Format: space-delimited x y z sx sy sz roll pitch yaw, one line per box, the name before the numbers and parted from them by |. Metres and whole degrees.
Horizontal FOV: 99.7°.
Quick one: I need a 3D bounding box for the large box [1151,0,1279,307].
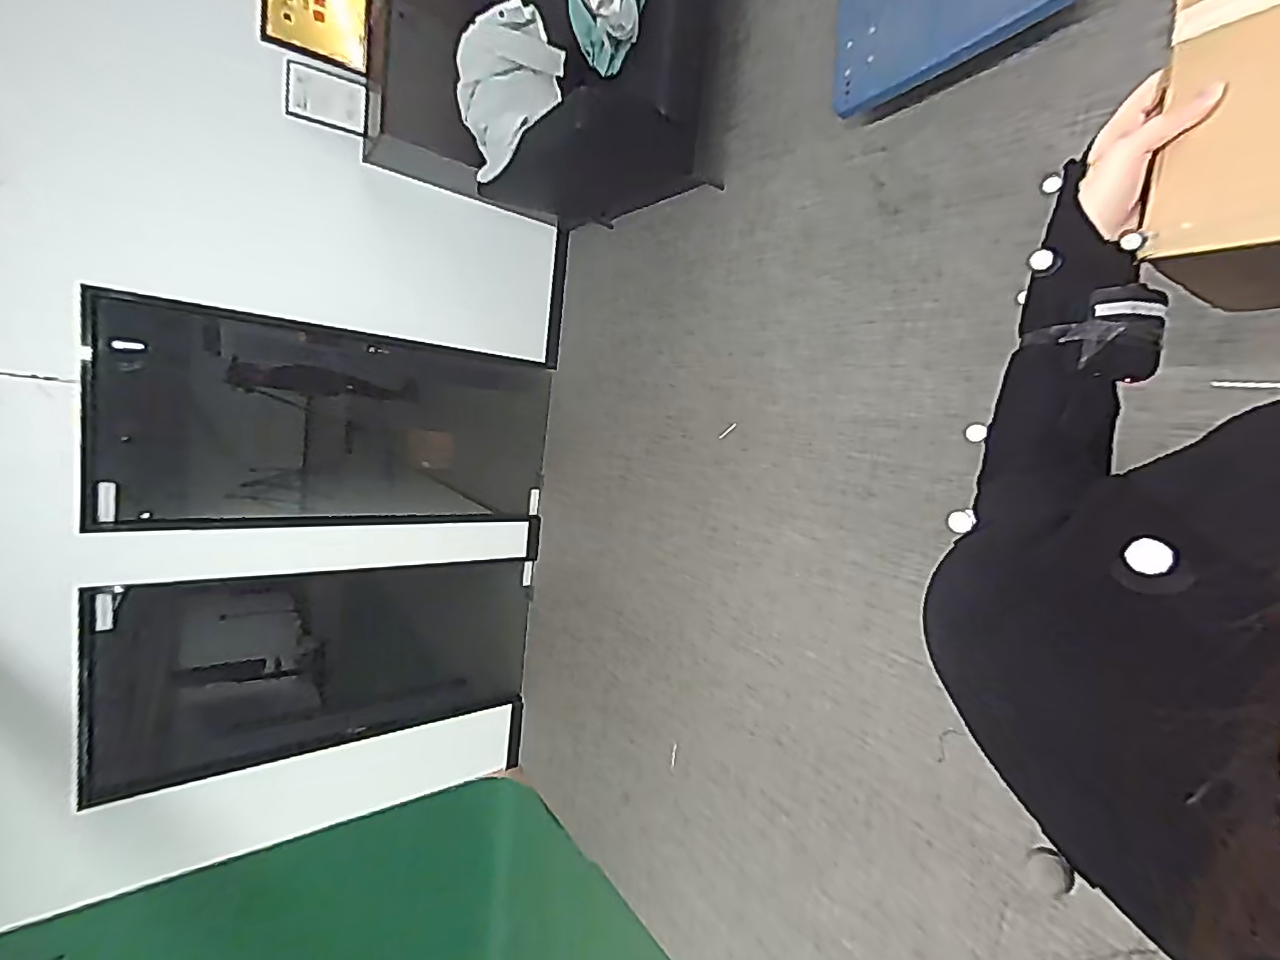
large box | 0.636 -0.300 0.318 0.408 0.320 0.320 14 104 56
